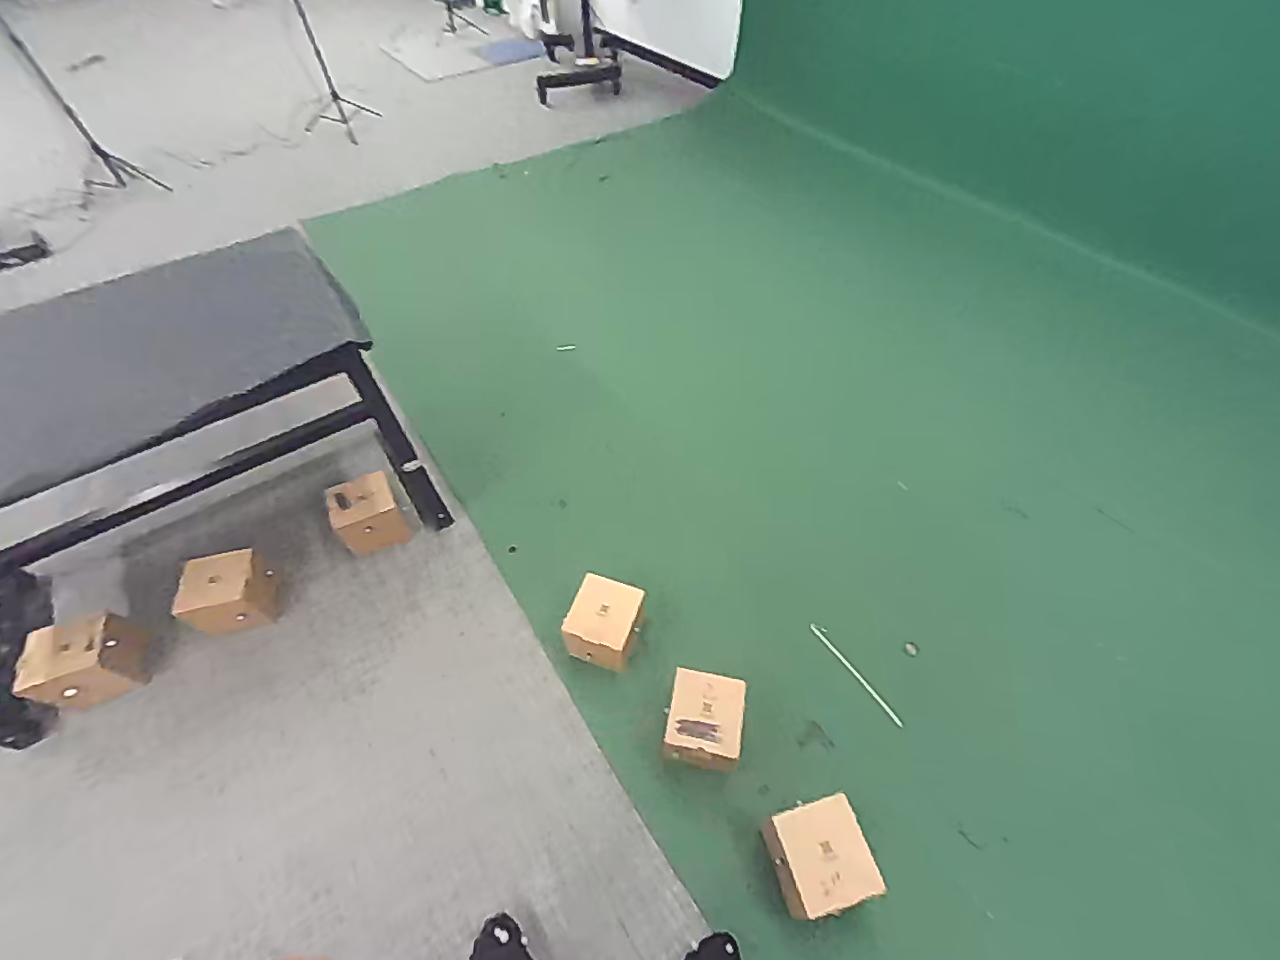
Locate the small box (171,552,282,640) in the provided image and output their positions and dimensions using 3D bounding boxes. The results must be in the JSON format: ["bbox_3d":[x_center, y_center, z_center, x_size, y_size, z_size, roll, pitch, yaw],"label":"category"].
[{"bbox_3d":[-1.146,0.328,1.518,0.179,0.176,0.168,-13,53,-7],"label":"small box"}]

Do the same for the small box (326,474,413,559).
[{"bbox_3d":[-0.834,0.117,1.672,0.179,0.176,0.168,-24,56,-17],"label":"small box"}]

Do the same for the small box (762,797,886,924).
[{"bbox_3d":[0.369,0.793,1.128,0.168,0.176,0.179,-13,54,-8],"label":"small box"}]

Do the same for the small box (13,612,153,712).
[{"bbox_3d":[-1.439,0.478,1.410,0.179,0.176,0.168,-19,55,-12],"label":"small box"}]

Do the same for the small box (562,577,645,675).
[{"bbox_3d":[-0.093,0.393,1.448,0.168,0.176,0.179,16,55,12],"label":"small box"}]
